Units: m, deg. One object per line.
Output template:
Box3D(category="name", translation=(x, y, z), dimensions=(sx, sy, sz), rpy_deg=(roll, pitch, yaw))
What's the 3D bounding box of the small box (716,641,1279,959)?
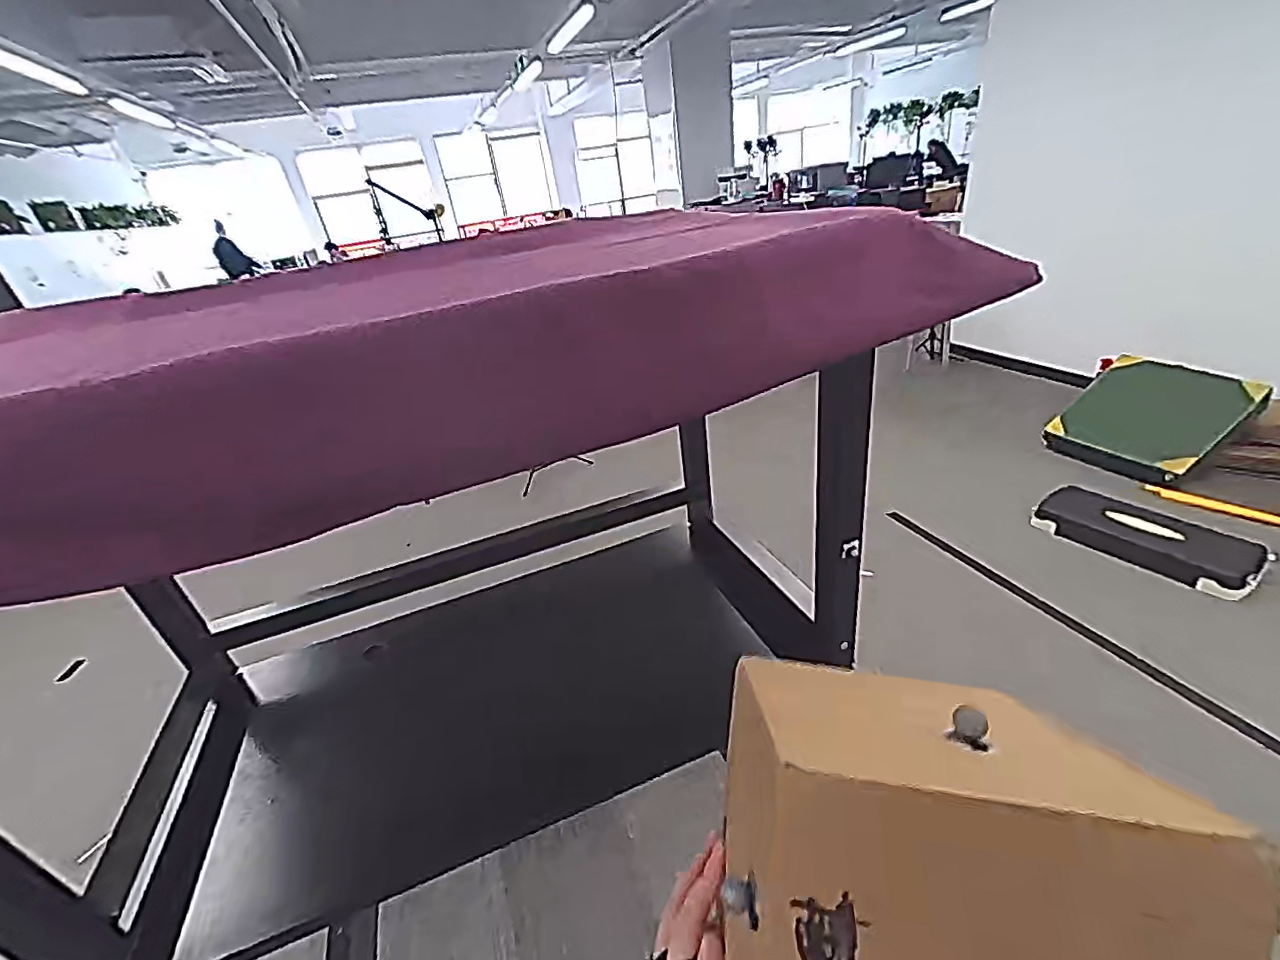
Box3D(category="small box", translation=(0.139, 0.189, 0.272), dimensions=(0.179, 0.168, 0.176), rpy_deg=(7, -3, 5))
